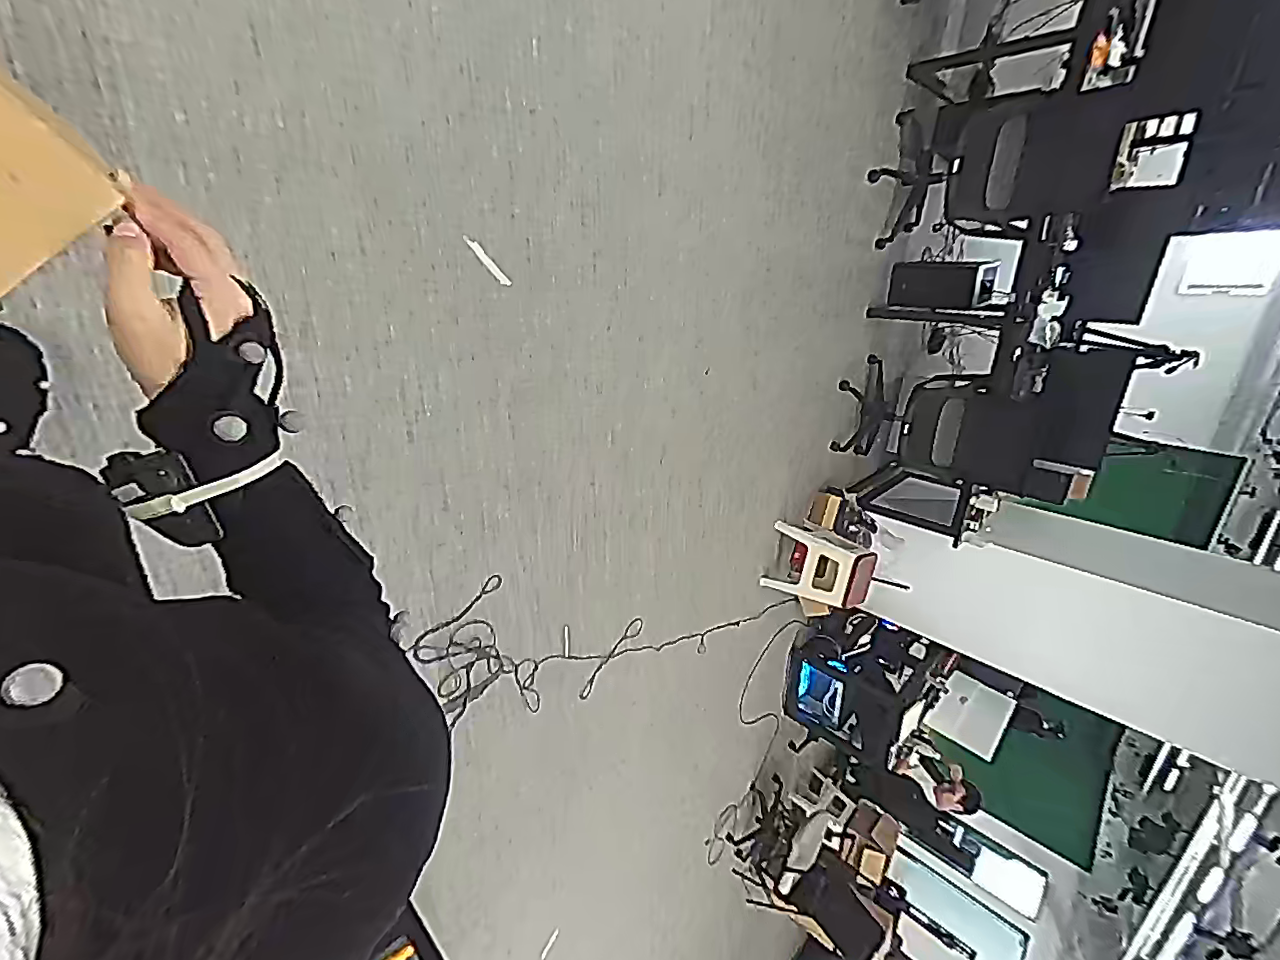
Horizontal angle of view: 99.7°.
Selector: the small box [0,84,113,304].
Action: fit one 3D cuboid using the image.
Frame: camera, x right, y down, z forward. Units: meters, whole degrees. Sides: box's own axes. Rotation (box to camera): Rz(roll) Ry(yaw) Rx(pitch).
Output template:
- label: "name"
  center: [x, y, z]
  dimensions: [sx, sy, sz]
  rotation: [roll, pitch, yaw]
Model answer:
- label: "small box"
  center: [-0.404, -0.162, 0.241]
  dimensions: [0.168, 0.176, 0.179]
  rotation: [-48, 145, -10]
